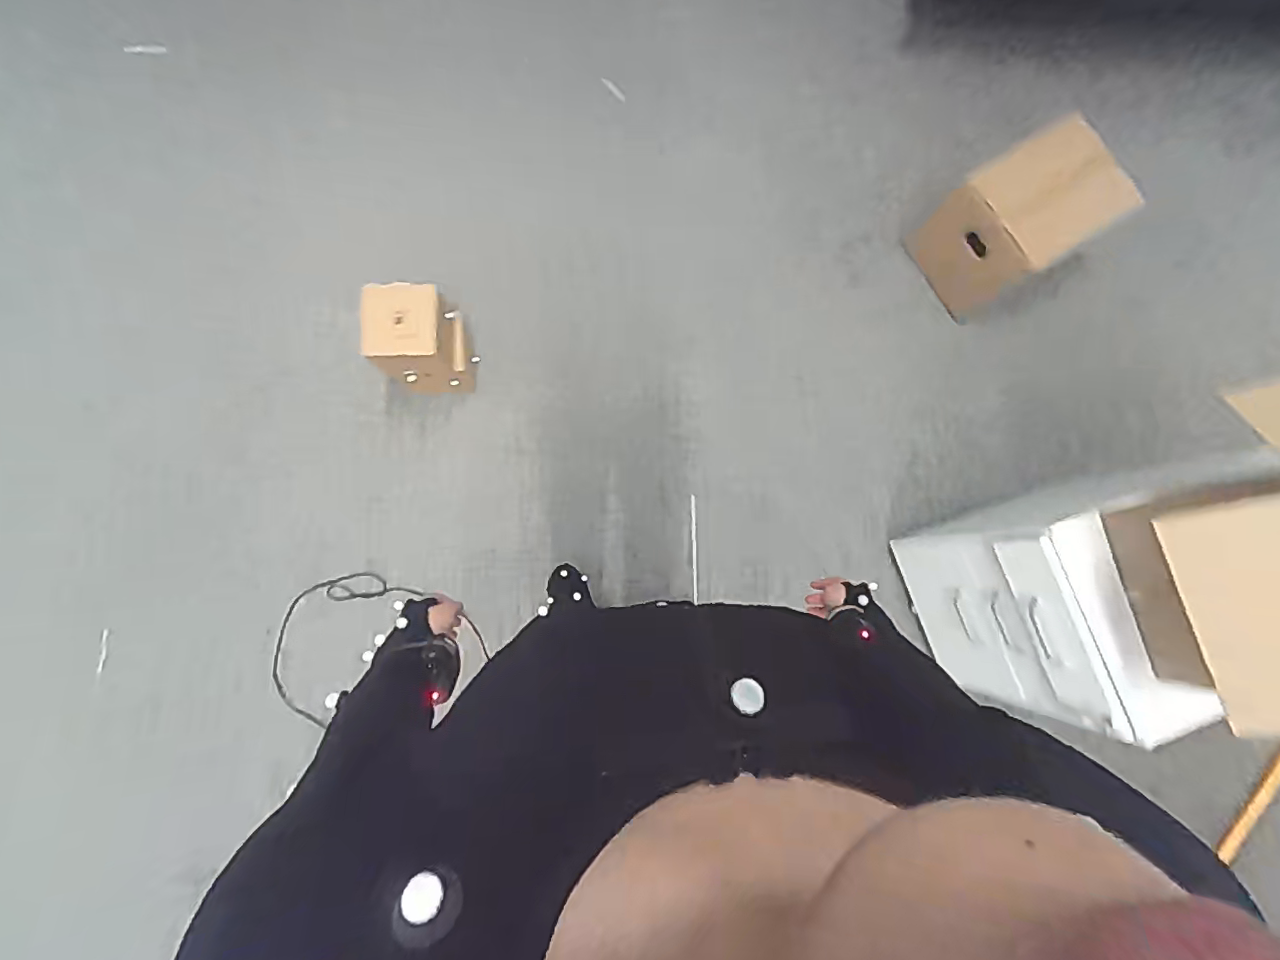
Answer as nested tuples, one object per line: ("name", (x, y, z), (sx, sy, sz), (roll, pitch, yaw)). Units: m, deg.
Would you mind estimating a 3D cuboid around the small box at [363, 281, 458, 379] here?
("small box", (-0.544, -0.357, 1.303), (0.168, 0.176, 0.179), (-1, 82, -4))
